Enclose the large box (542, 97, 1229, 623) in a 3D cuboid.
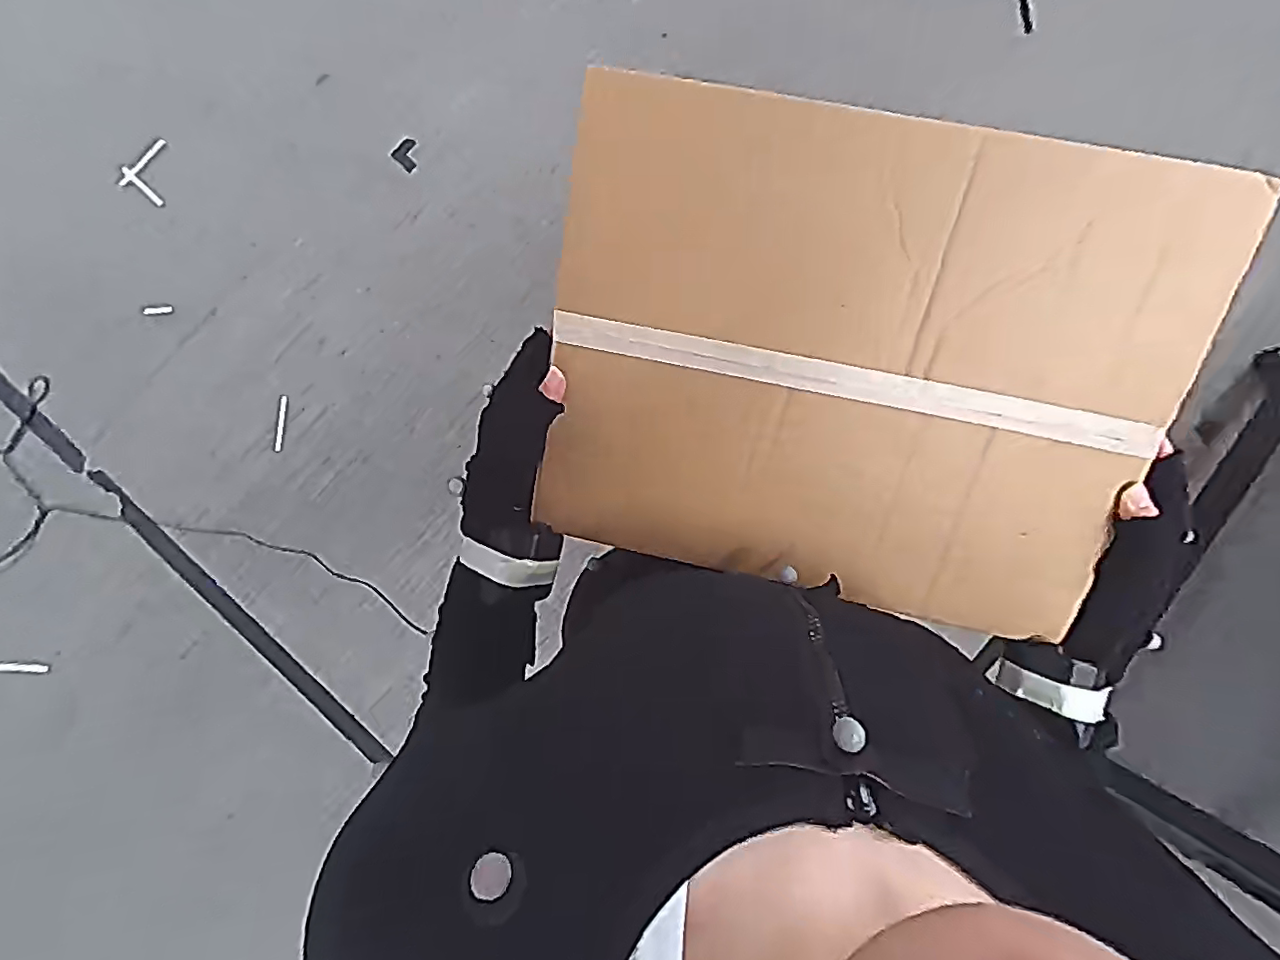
[{"bbox_3d":[0.153,-0.111,0.523,0.408,0.320,0.320,12,109,4],"label":"large box"}]
